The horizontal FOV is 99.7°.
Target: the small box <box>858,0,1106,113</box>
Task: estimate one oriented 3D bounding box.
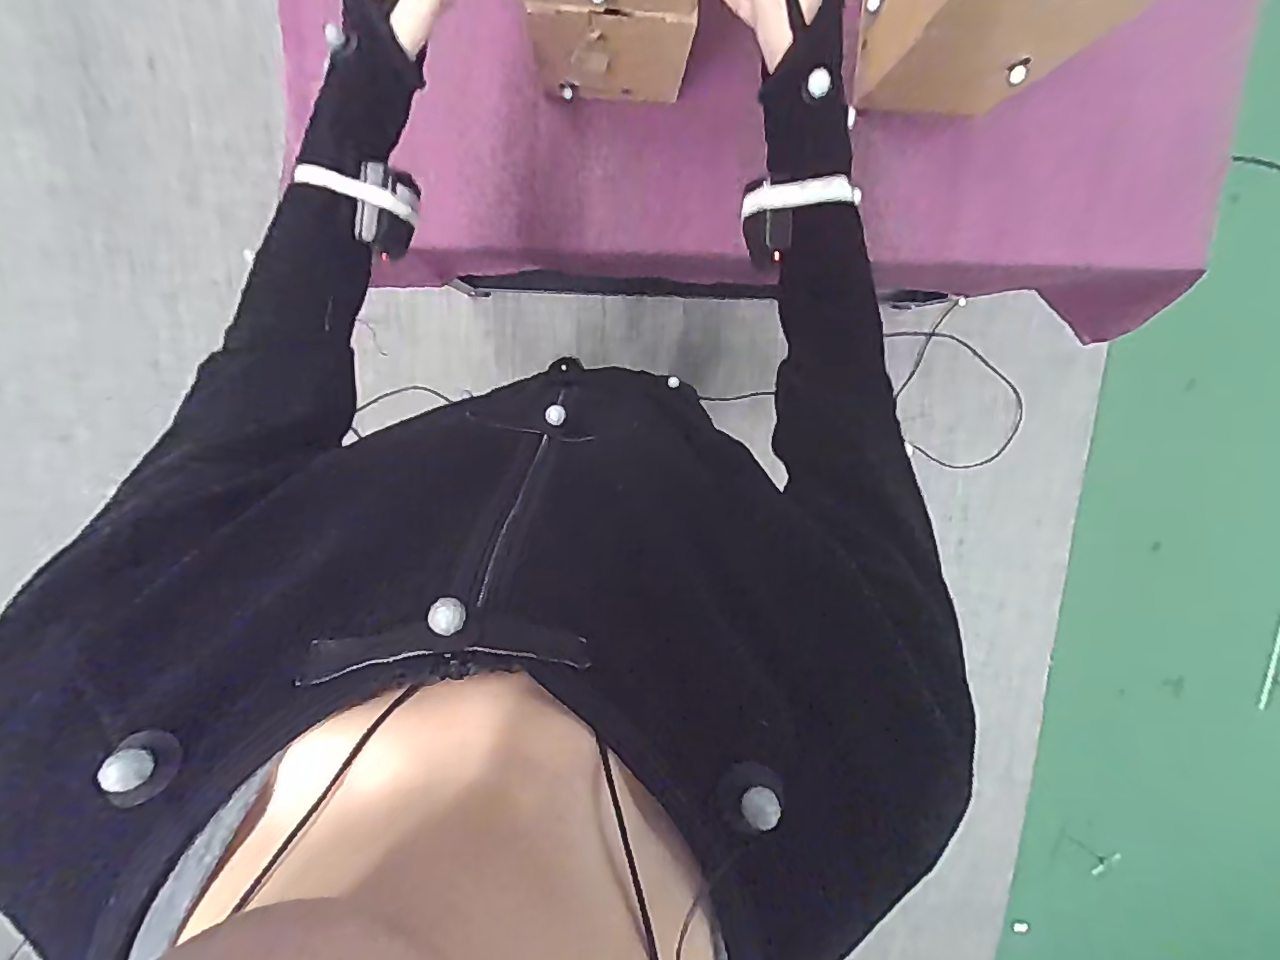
[{"bbox_3d":[0.369,-0.531,0.592,0.179,0.176,0.168,2,102,-4],"label":"small box"}]

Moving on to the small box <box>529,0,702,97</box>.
[{"bbox_3d":[-0.024,-0.537,0.567,0.168,0.176,0.179,1,102,-4],"label":"small box"}]
